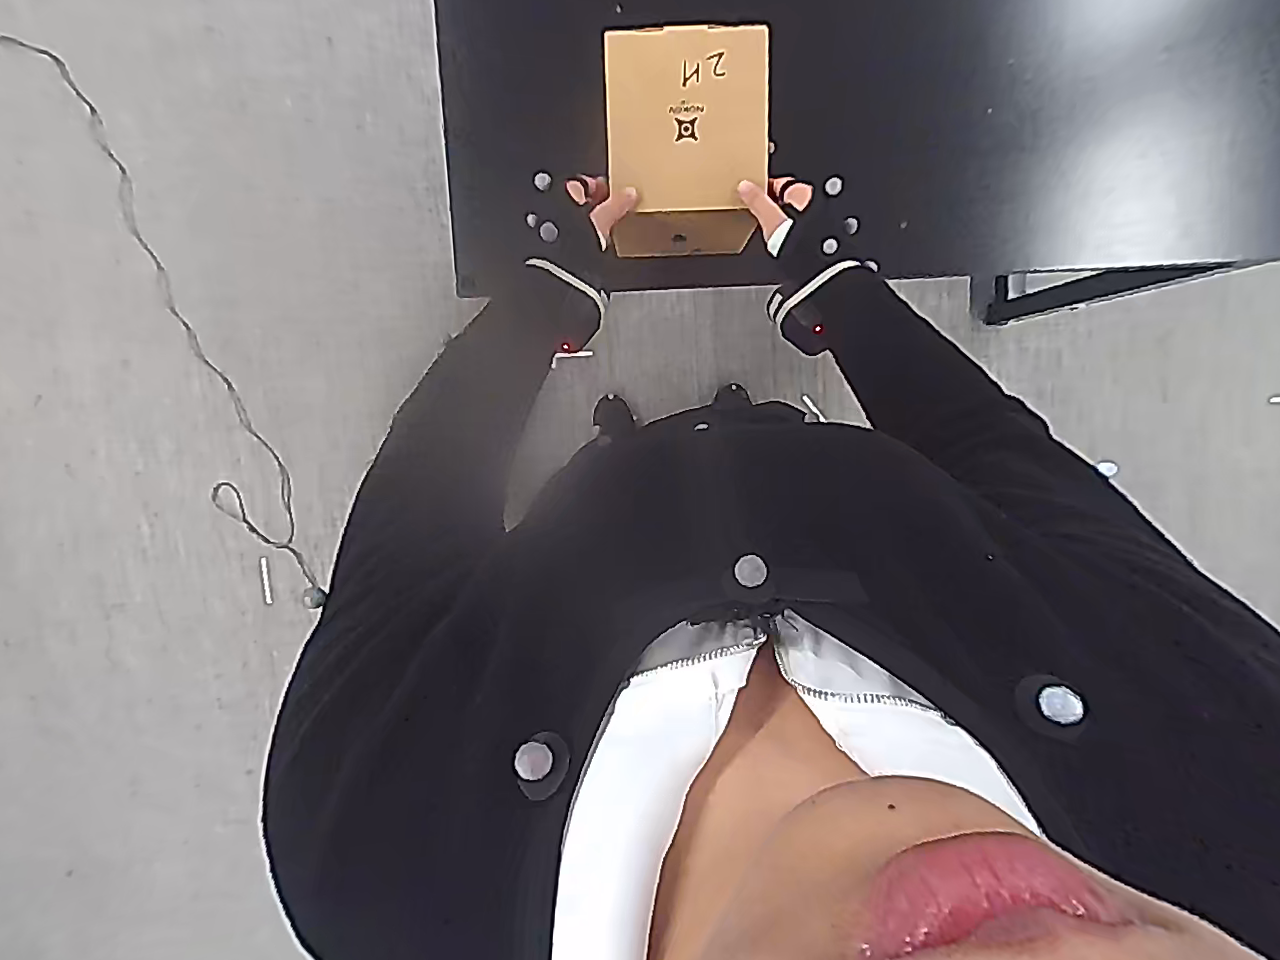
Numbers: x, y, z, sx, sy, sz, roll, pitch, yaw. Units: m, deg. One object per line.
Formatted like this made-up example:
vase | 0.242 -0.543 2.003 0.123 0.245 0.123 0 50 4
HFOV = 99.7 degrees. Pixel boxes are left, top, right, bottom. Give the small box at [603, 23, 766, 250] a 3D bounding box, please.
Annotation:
small box | 0.048 -0.377 0.629 0.168 0.176 0.179 -2 97 1
